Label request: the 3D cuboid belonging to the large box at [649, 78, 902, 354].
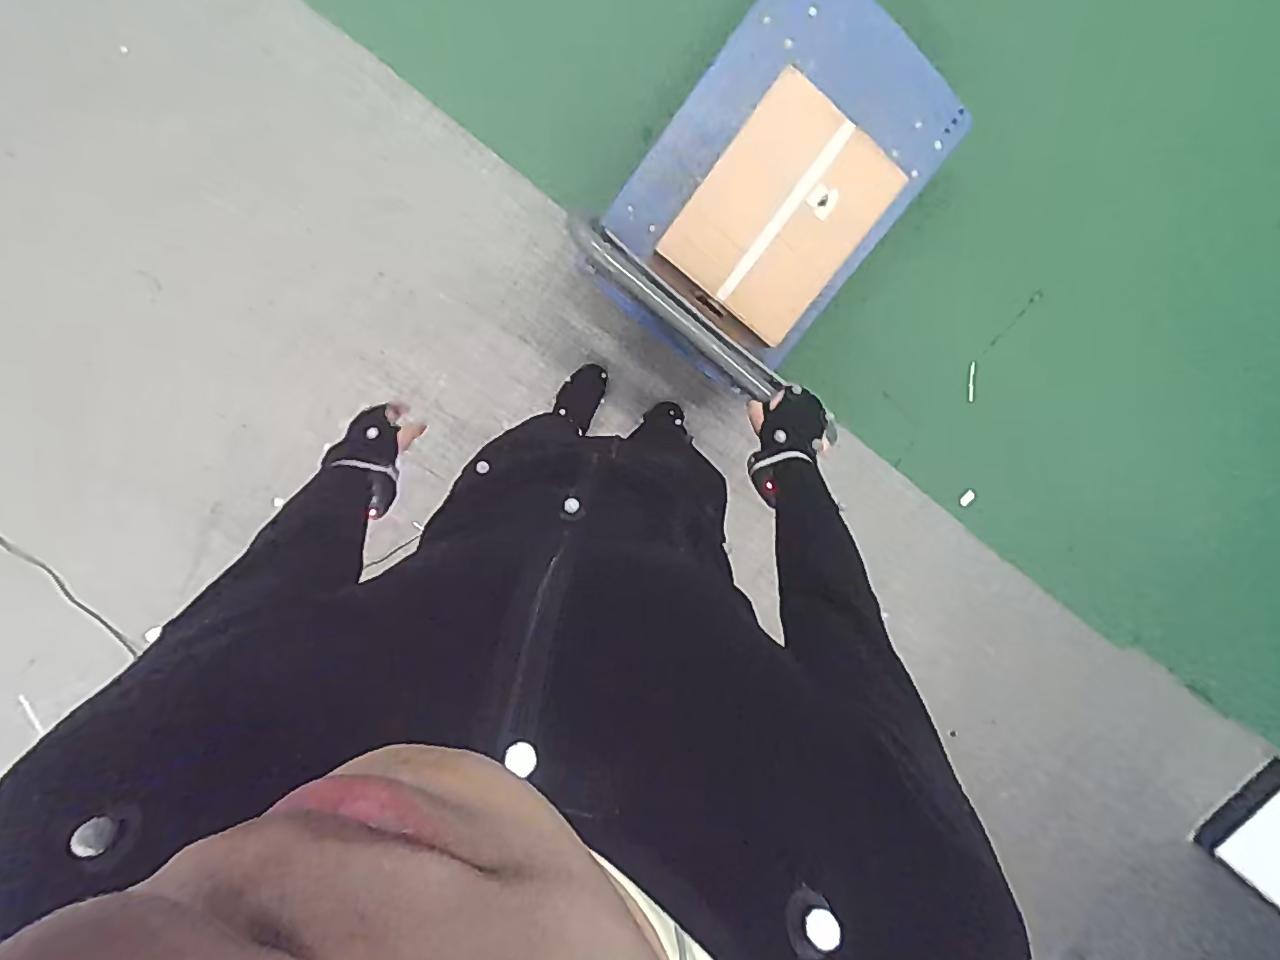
[{"bbox_3d":[0.264,-0.530,1.193,0.320,0.320,0.408,37,98,-12],"label":"large box"}]
